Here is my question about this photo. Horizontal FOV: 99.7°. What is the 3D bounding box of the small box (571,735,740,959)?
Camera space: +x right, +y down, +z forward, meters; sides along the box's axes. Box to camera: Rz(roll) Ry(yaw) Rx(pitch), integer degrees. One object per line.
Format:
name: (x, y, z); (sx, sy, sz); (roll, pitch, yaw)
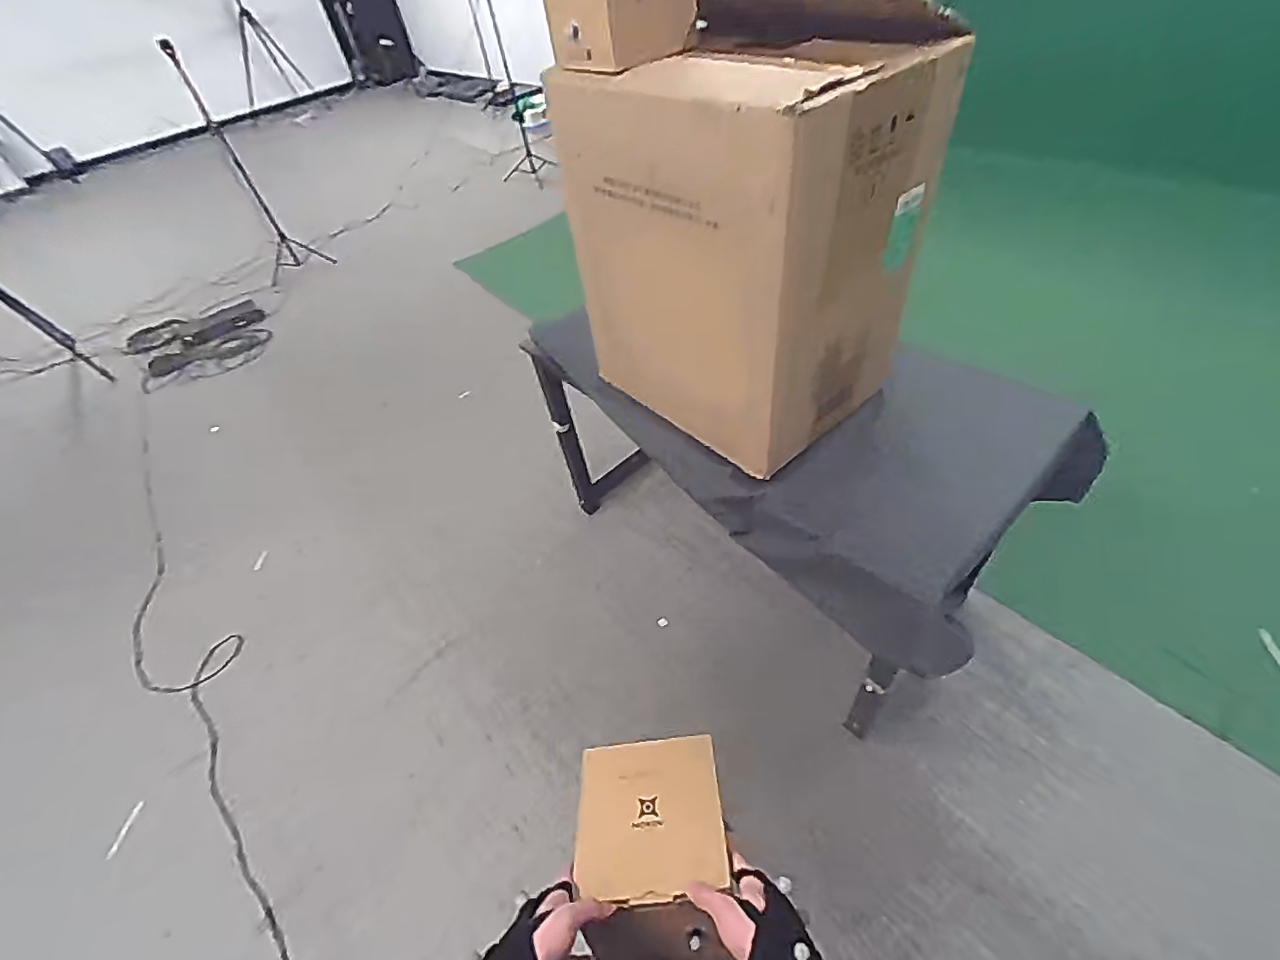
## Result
small box: (0.022, 0.444, 0.650); (0.168, 0.176, 0.179); (-8, 27, 3)

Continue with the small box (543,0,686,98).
small box: (-0.041, -0.731, 0.857); (0.179, 0.176, 0.168); (-36, 50, -22)
